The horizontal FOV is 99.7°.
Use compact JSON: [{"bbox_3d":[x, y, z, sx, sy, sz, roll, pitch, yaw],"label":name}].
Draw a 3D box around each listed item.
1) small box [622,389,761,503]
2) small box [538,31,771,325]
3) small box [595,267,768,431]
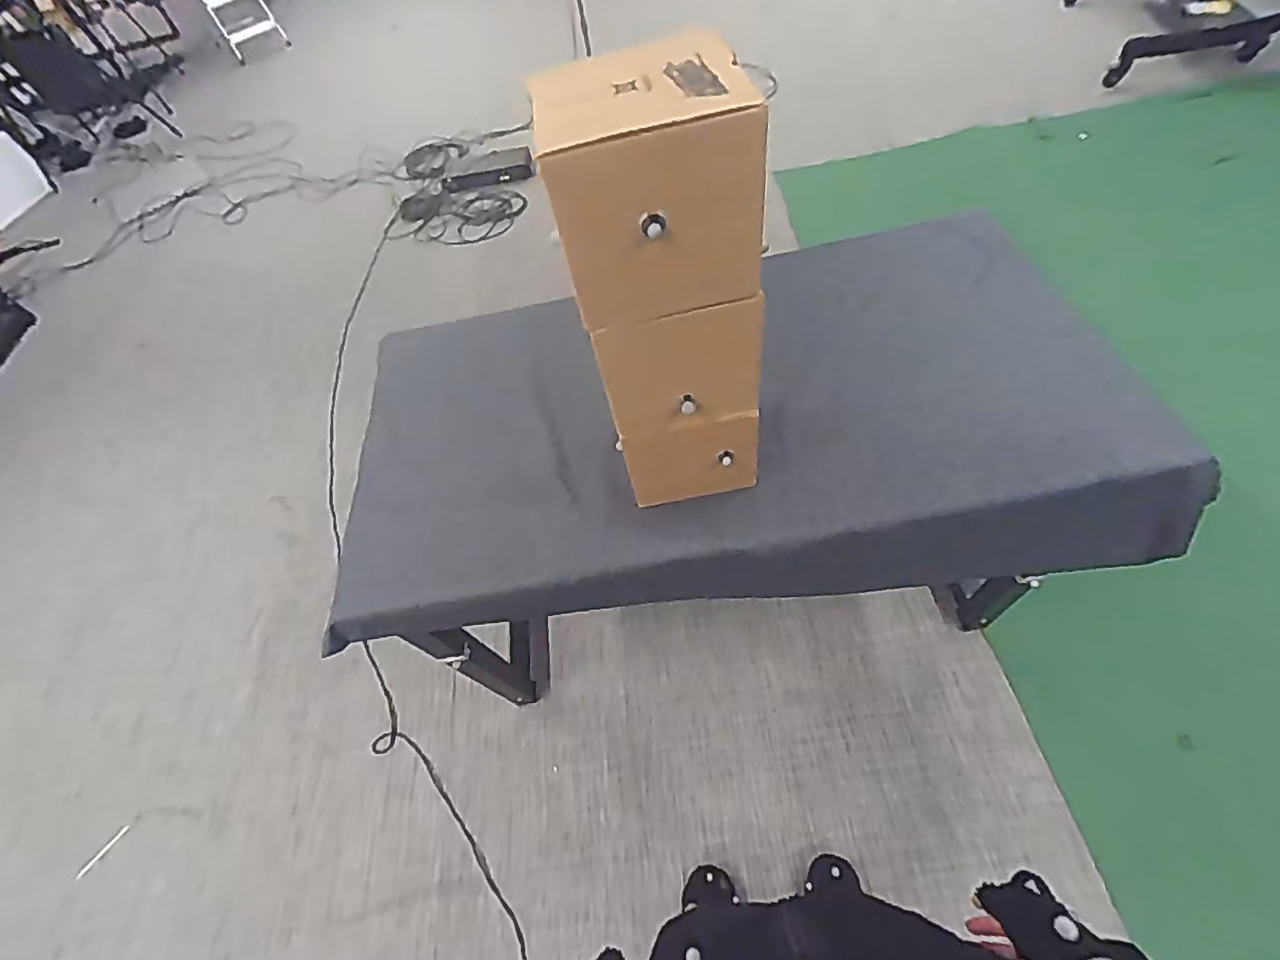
[{"bbox_3d":[0.066,-0.088,0.774,0.179,0.176,0.168,-12,54,3],"label":"small box"},{"bbox_3d":[0.013,-0.275,0.509,0.179,0.176,0.168,-12,55,3],"label":"small box"},{"bbox_3d":[0.040,-0.182,0.643,0.179,0.176,0.168,-11,54,2],"label":"small box"}]
